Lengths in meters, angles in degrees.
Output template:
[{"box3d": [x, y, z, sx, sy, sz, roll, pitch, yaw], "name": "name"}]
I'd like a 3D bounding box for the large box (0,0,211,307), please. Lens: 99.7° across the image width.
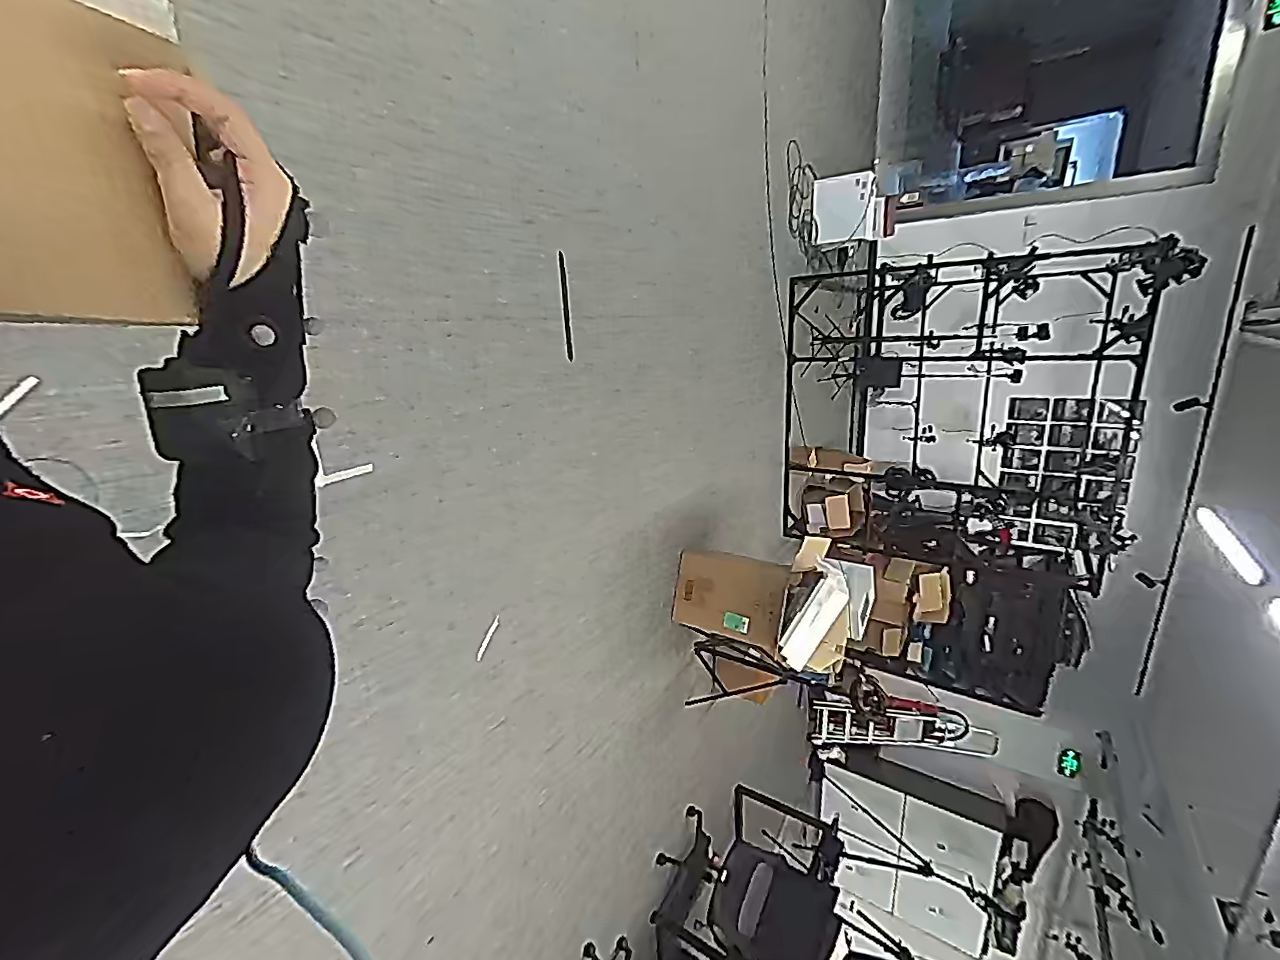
[{"box3d": [-0.486, -0.240, 0.198, 0.408, 0.320, 0.320, -21, 118, -60], "name": "large box"}]
